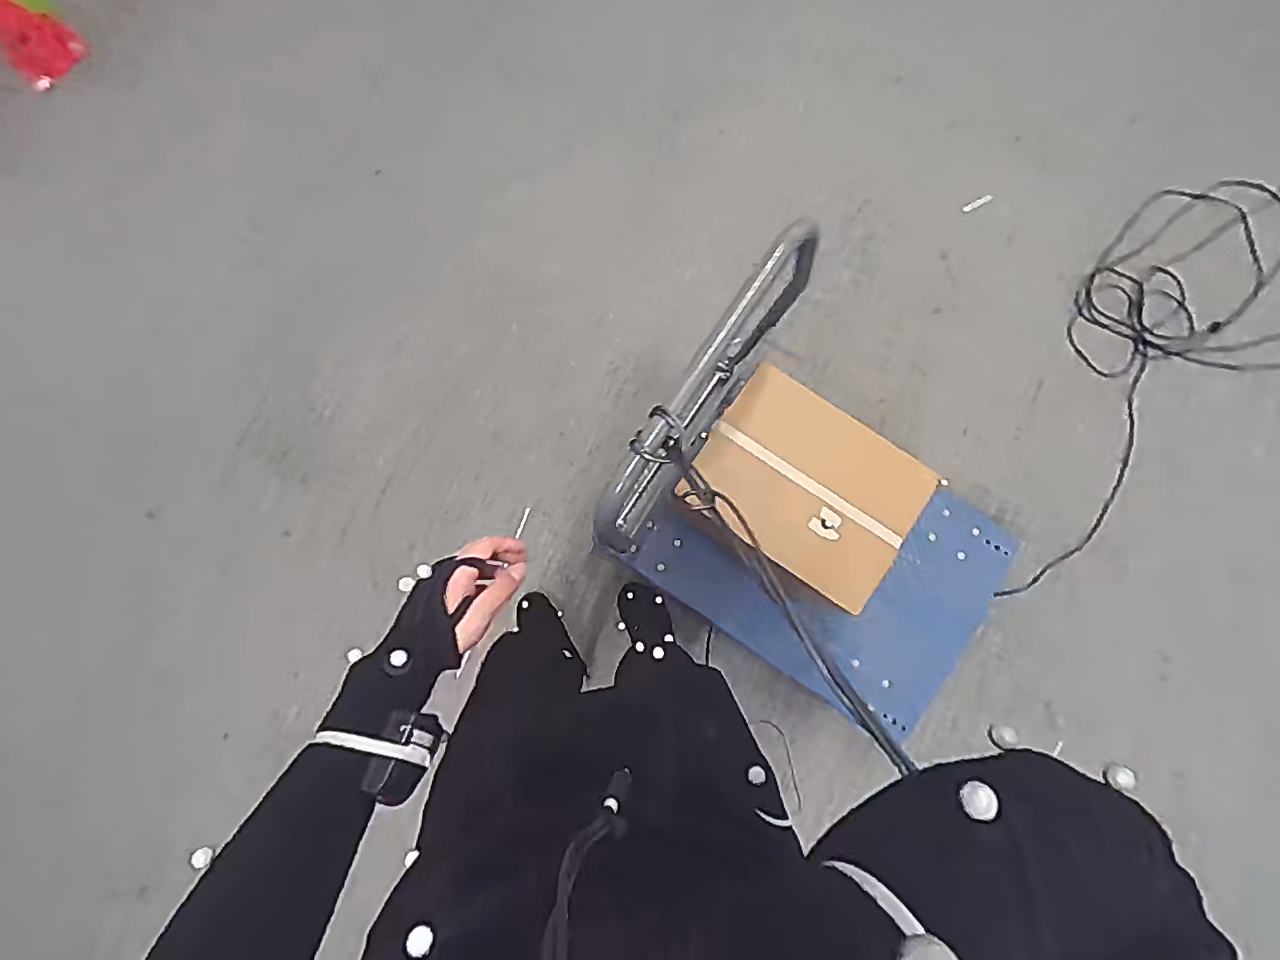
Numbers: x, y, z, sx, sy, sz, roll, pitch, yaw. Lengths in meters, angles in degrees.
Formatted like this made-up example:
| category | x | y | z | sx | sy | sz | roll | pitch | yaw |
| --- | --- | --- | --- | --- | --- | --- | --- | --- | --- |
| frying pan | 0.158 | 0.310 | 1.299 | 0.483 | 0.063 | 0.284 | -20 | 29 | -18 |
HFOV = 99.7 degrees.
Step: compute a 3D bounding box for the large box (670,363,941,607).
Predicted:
| category | x | y | z | sx | sy | sz | roll | pitch | yaw |
| --- | --- | --- | --- | --- | --- | --- | --- | --- | --- |
| large box | 0.317 | 0.021 | 1.157 | 0.408 | 0.320 | 0.320 | 34 | 84 | 3 |
